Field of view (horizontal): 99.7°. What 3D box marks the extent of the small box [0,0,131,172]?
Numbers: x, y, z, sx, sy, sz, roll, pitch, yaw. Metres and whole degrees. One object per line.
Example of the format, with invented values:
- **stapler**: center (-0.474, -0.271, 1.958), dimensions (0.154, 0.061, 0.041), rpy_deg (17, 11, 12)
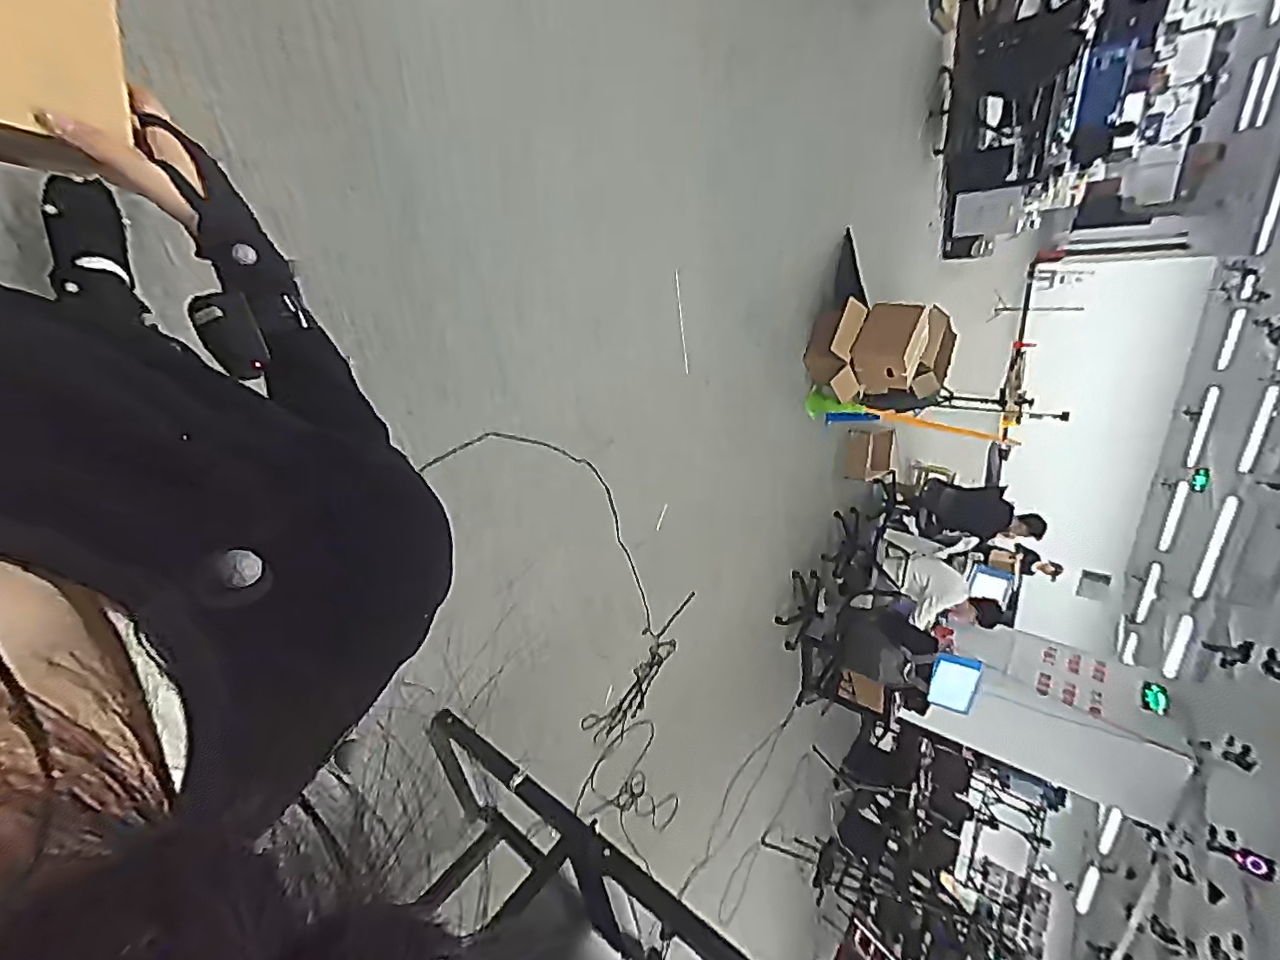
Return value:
- **small box**: center (-0.467, -0.323, 0.350), dimensions (0.168, 0.176, 0.179), rpy_deg (-14, 111, -51)
